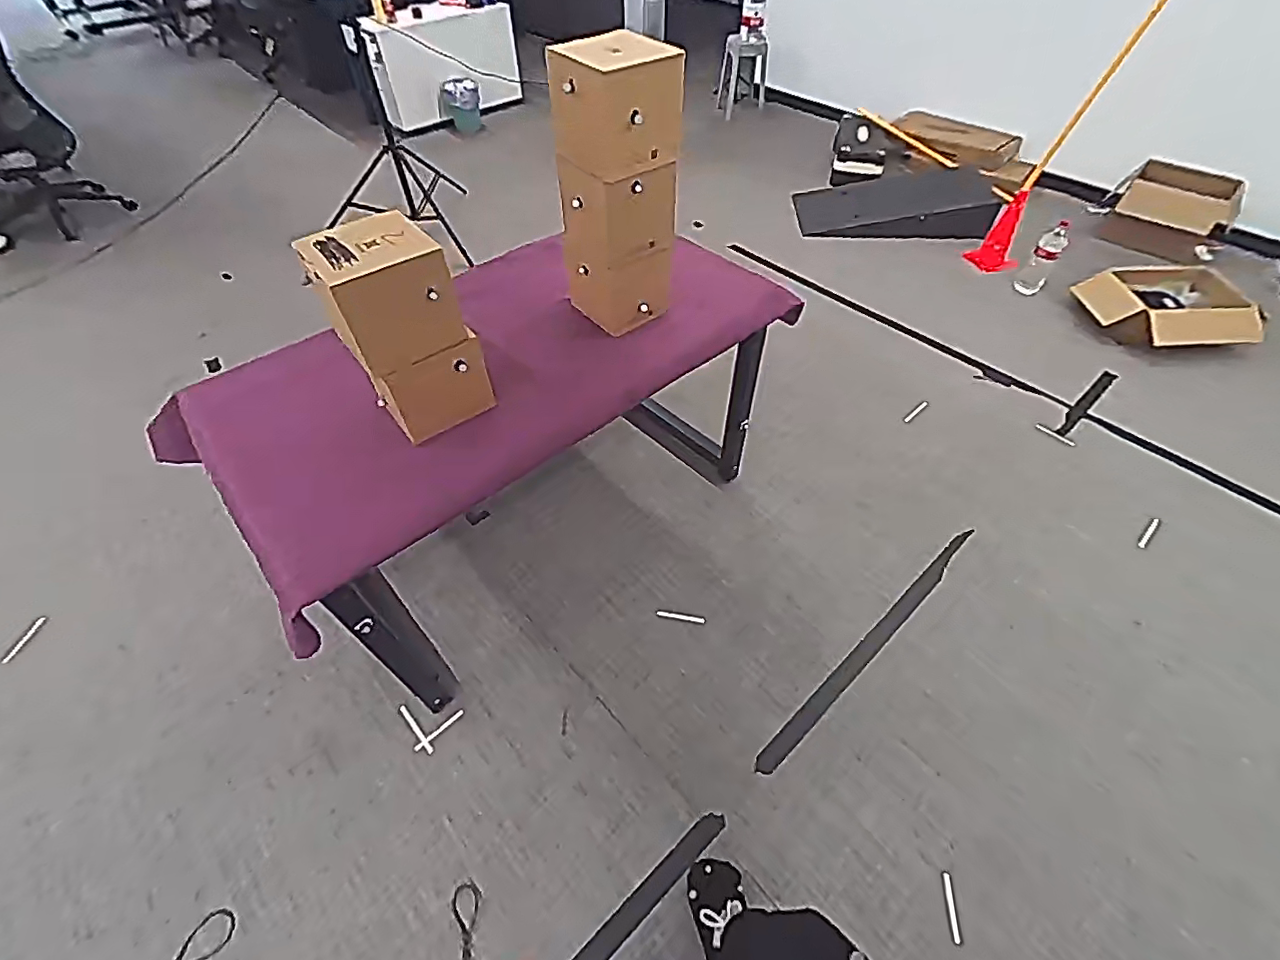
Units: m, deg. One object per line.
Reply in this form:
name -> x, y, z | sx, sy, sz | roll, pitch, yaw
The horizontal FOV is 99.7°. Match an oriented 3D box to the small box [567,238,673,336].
small box -> -0.045, -0.455, 1.218 | 0.168, 0.176, 0.179 | -33, 58, -23

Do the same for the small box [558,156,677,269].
small box -> -0.043, -0.555, 1.088 | 0.168, 0.176, 0.179 | -31, 56, -21

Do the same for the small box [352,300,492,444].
small box -> -0.397, -0.203, 1.019 | 0.179, 0.176, 0.168 | -33, 57, -23

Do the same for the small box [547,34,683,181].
small box -> -0.040, -0.654, 0.958 | 0.168, 0.176, 0.179 | -32, 57, -21
